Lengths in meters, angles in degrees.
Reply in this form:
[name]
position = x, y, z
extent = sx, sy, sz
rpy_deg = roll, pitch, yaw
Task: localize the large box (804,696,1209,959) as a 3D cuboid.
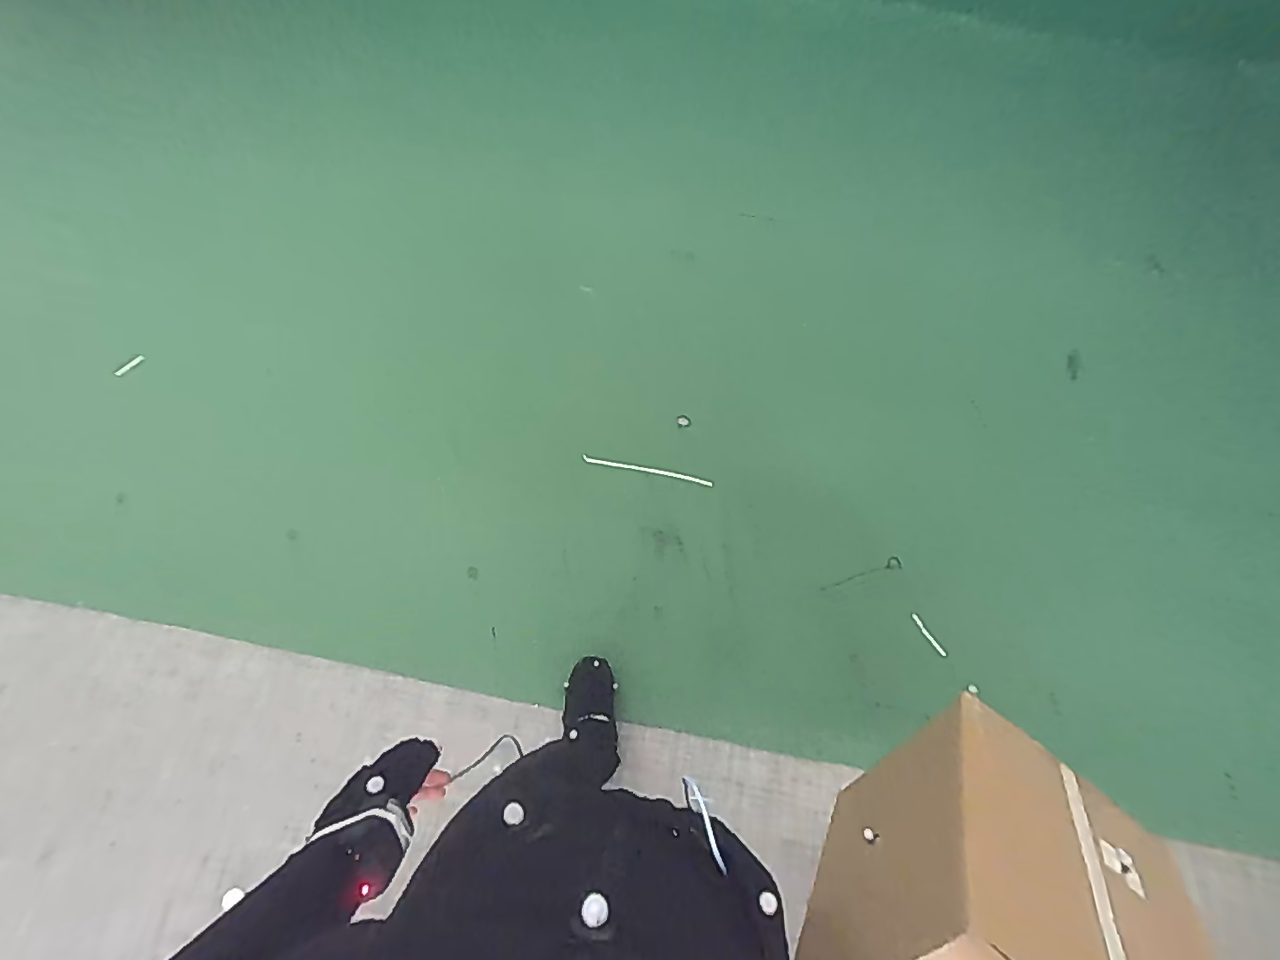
[large box]
position = 0.439, 0.576, 0.678
extent = 0.320, 0.320, 0.408
rpy_deg = 40, 28, 16
